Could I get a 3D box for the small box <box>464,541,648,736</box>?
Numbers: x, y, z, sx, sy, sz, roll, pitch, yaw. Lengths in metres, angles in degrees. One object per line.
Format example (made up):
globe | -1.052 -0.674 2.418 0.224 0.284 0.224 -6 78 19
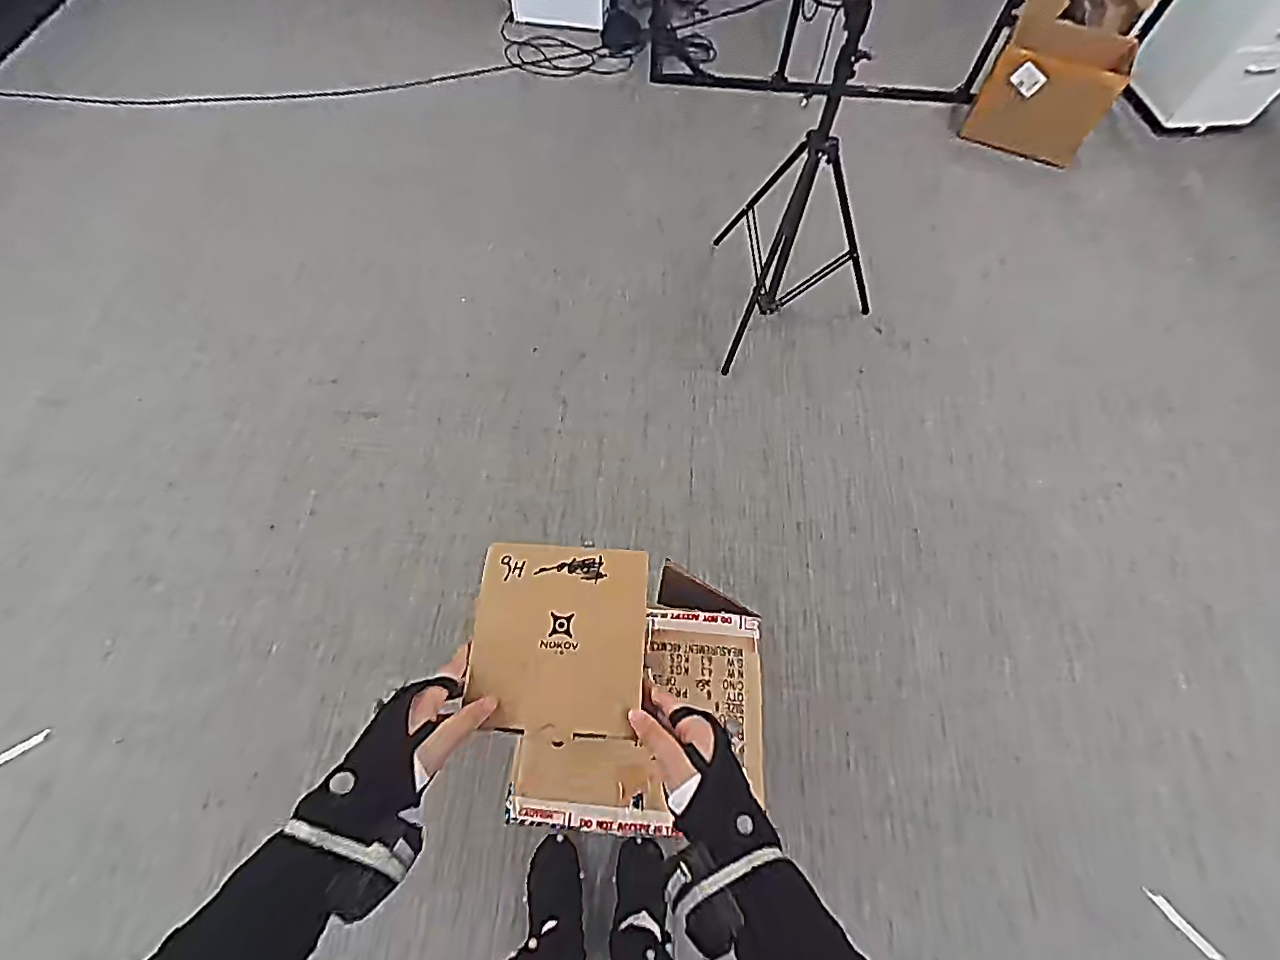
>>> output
small box | -0.077 0.176 0.601 0.168 0.176 0.179 3 69 1
